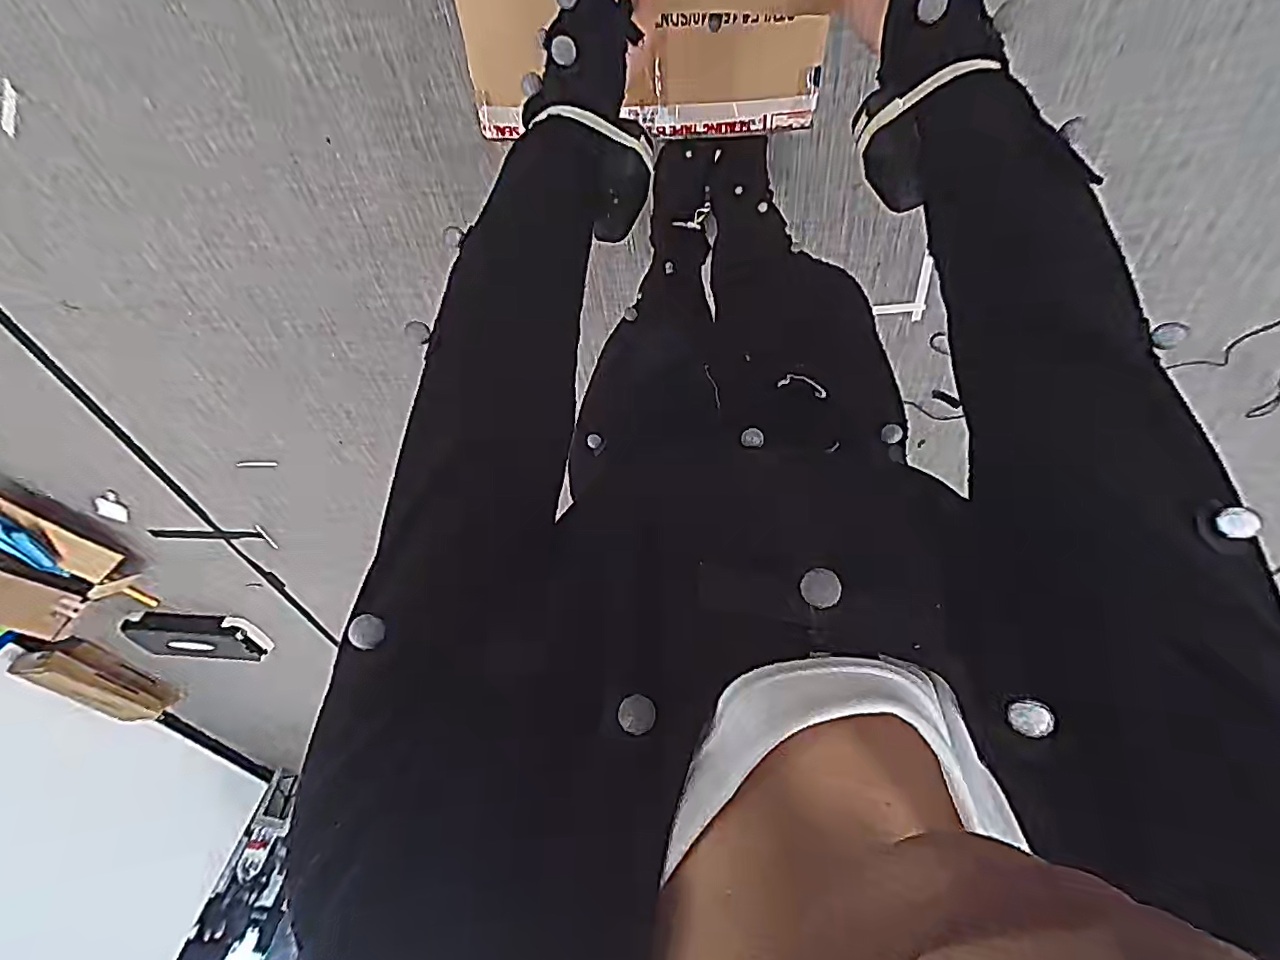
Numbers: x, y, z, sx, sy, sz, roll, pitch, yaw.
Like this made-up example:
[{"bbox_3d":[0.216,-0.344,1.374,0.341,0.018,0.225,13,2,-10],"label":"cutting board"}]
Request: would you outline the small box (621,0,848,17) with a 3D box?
[{"bbox_3d":[0.079,-0.476,0.417,0.179,0.176,0.168,3,137,3],"label":"small box"}]
